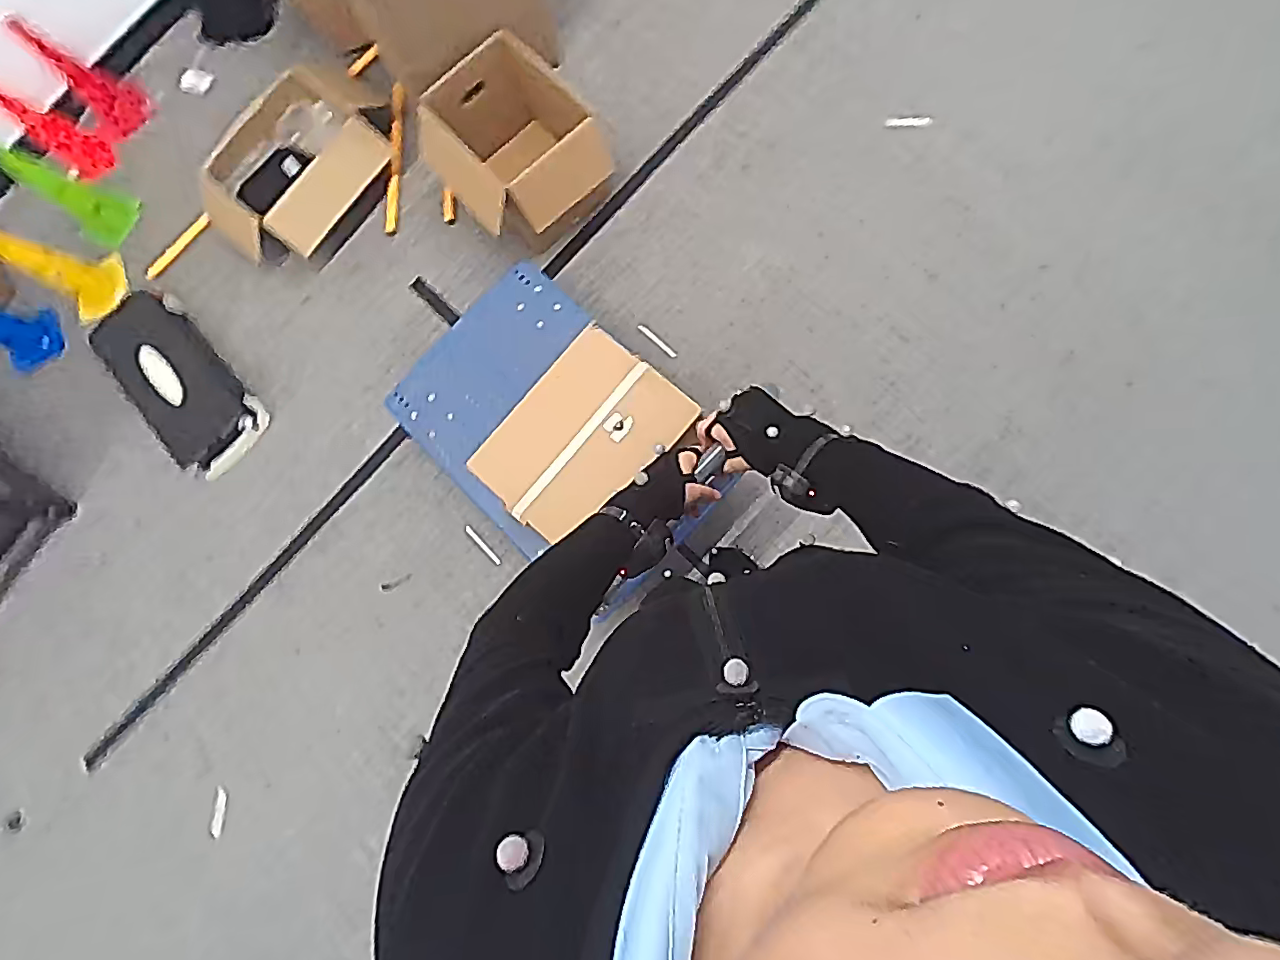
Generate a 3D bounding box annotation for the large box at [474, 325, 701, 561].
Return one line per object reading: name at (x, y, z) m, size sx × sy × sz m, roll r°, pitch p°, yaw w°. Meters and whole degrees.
large box at (-0.098, -0.062, 1.264) m, size 0.320 × 0.320 × 0.408 m, roll 39°, pitch 86°, yaw 11°
